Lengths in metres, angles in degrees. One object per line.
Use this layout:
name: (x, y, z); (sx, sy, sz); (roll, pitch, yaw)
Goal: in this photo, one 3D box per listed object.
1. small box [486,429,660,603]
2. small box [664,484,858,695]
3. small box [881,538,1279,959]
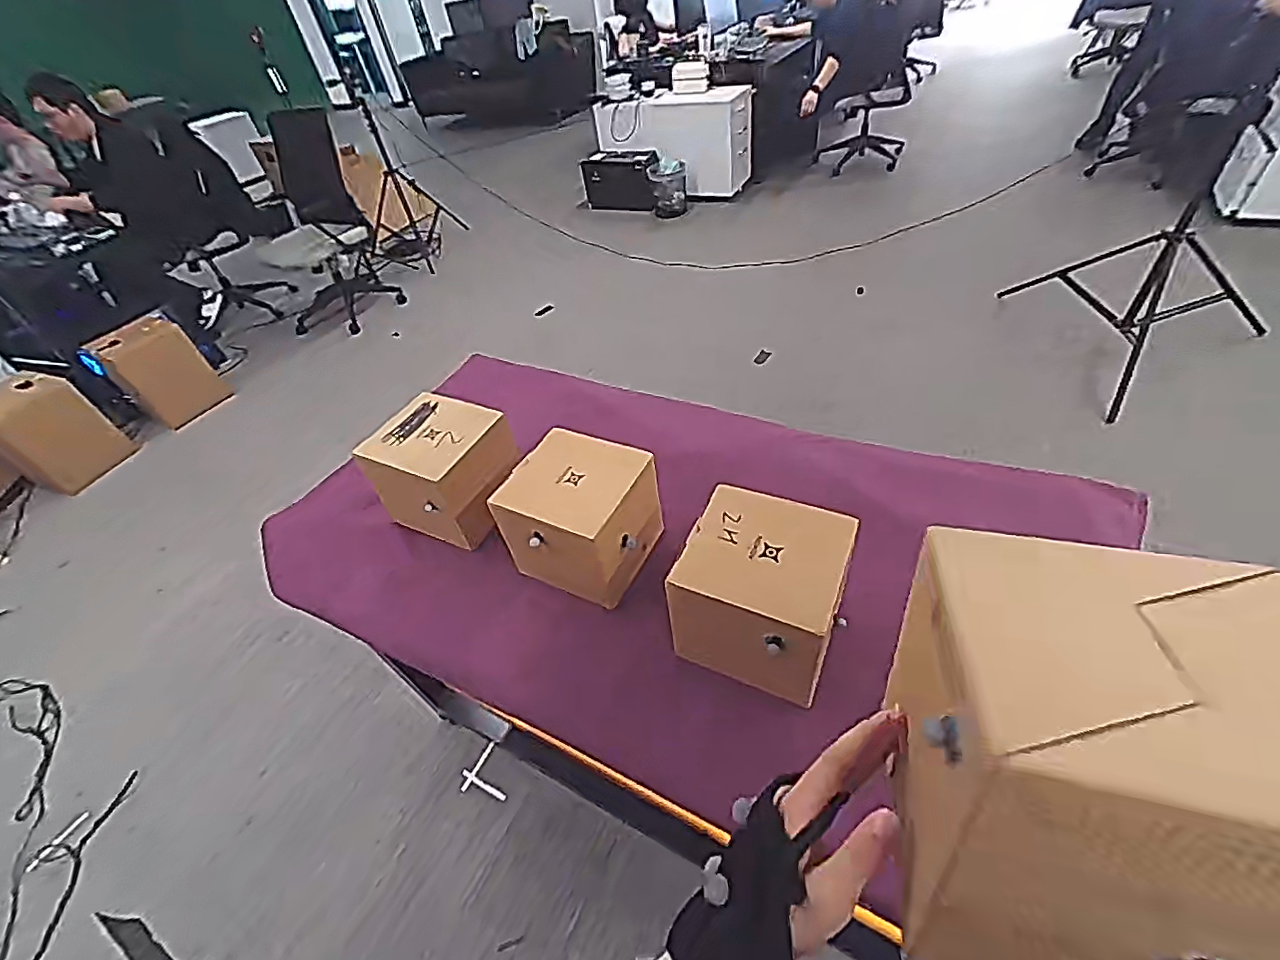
small box: (-0.085, 0.055, 0.792); (0.179, 0.176, 0.168); (16, 50, 25)
small box: (0.148, 0.136, 0.662); (0.179, 0.176, 0.168); (15, 48, 24)
small box: (0.231, 0.143, 0.277); (0.179, 0.176, 0.168); (4, 31, 19)
